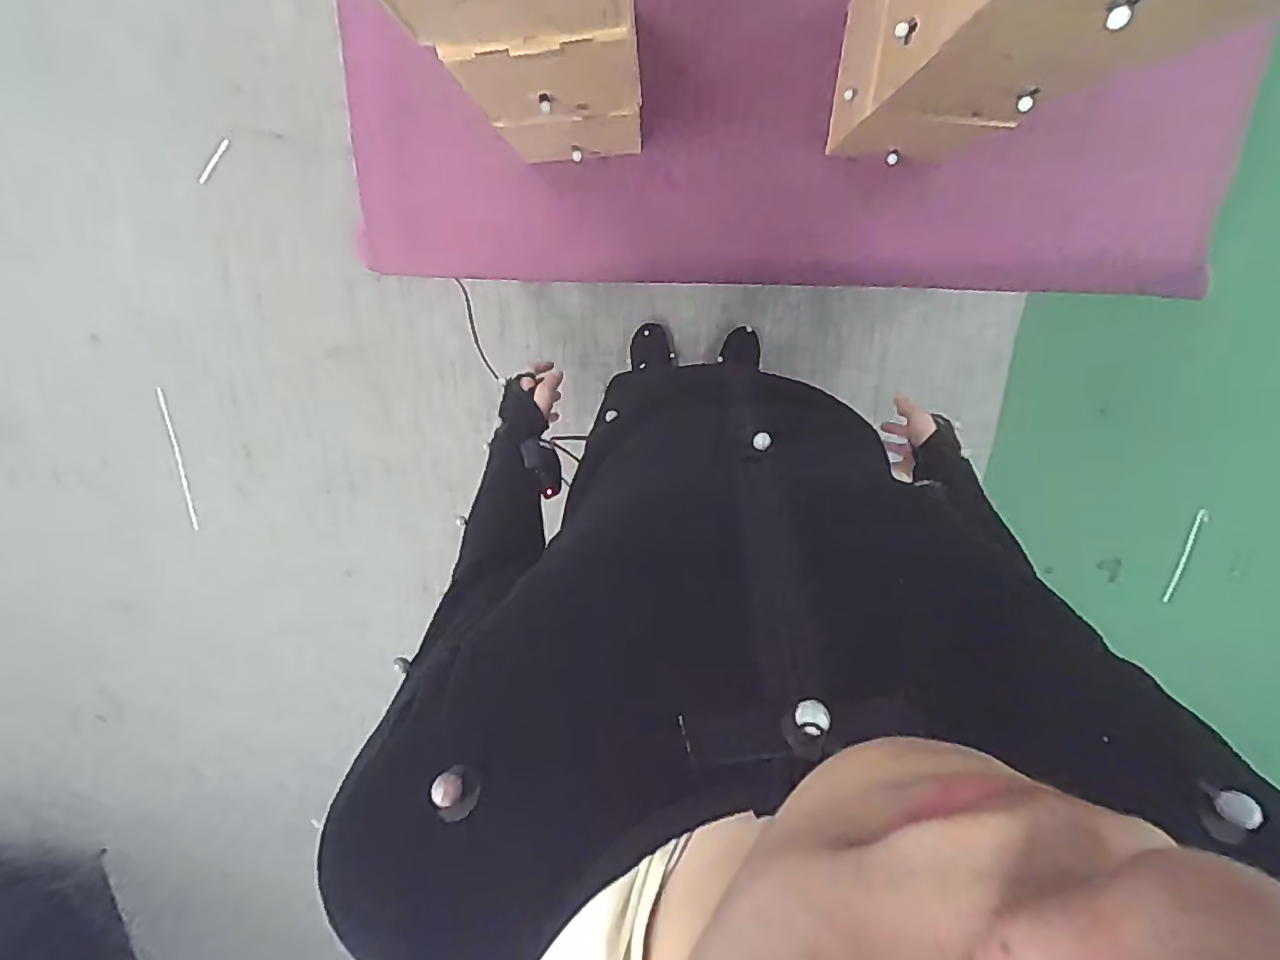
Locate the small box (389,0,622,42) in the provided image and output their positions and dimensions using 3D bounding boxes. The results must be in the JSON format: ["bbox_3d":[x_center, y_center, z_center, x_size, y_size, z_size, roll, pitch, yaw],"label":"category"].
[{"bbox_3d":[-0.112,-0.424,0.353,0.179,0.176,0.168,-3,108,5],"label":"small box"}]

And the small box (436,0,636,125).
[{"bbox_3d":[-0.095,-0.469,0.510,0.168,0.176,0.179,-4,107,4],"label":"small box"}]

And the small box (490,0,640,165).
[{"bbox_3d":[-0.088,-0.513,0.667,0.168,0.176,0.179,-2,107,5],"label":"small box"}]

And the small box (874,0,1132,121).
[{"bbox_3d":[0.330,-0.449,0.487,0.168,0.176,0.179,4,108,2],"label":"small box"}]
